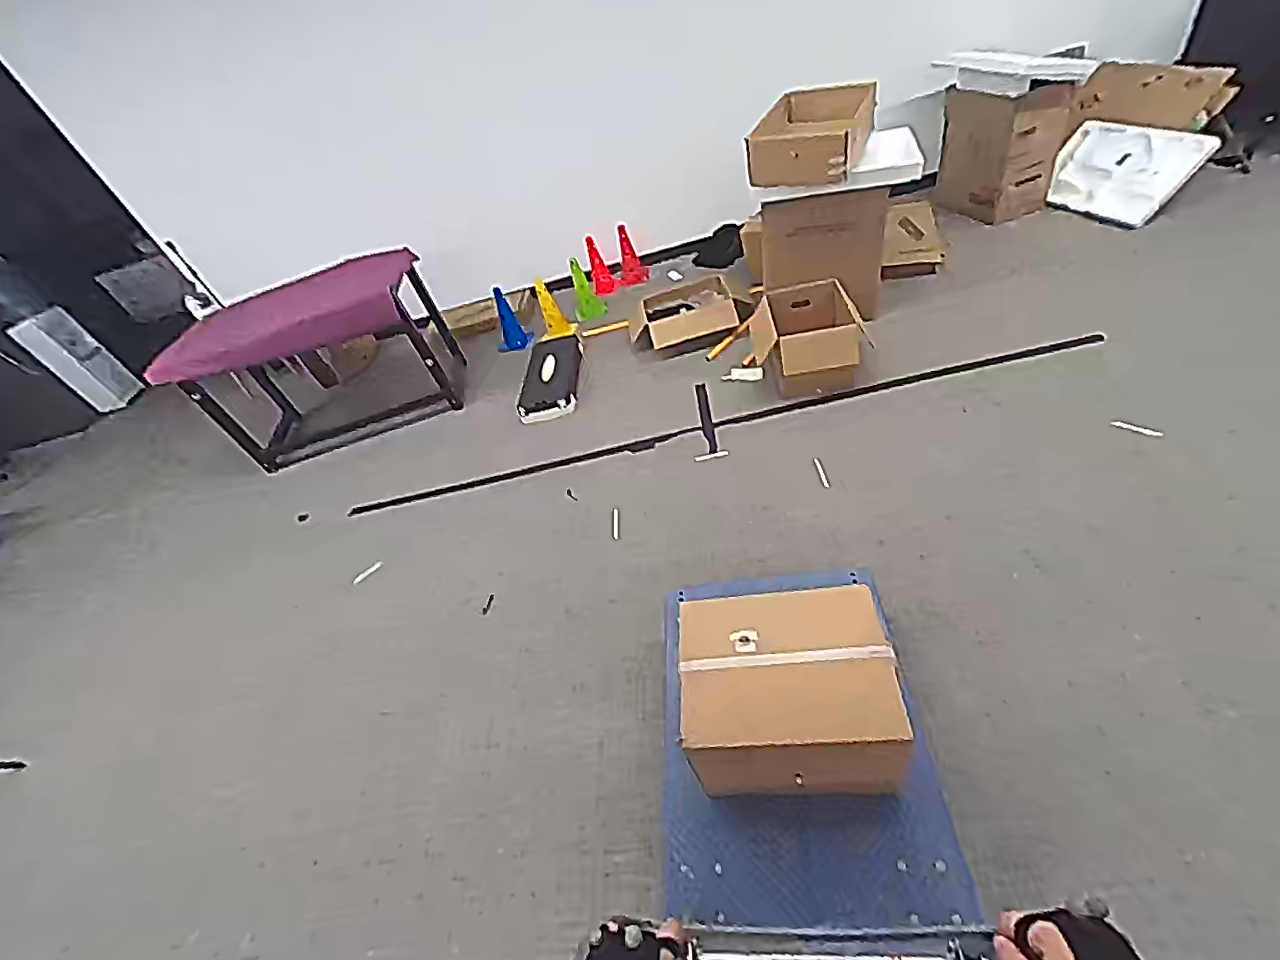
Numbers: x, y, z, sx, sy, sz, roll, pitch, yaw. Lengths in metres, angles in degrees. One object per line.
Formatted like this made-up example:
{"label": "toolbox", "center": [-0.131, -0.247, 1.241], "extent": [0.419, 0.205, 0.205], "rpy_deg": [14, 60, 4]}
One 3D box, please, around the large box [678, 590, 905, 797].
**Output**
{"label": "large box", "center": [0.314, 0.475, 1.180], "extent": [0.408, 0.320, 0.320], "rpy_deg": [-9, 43, 12]}
